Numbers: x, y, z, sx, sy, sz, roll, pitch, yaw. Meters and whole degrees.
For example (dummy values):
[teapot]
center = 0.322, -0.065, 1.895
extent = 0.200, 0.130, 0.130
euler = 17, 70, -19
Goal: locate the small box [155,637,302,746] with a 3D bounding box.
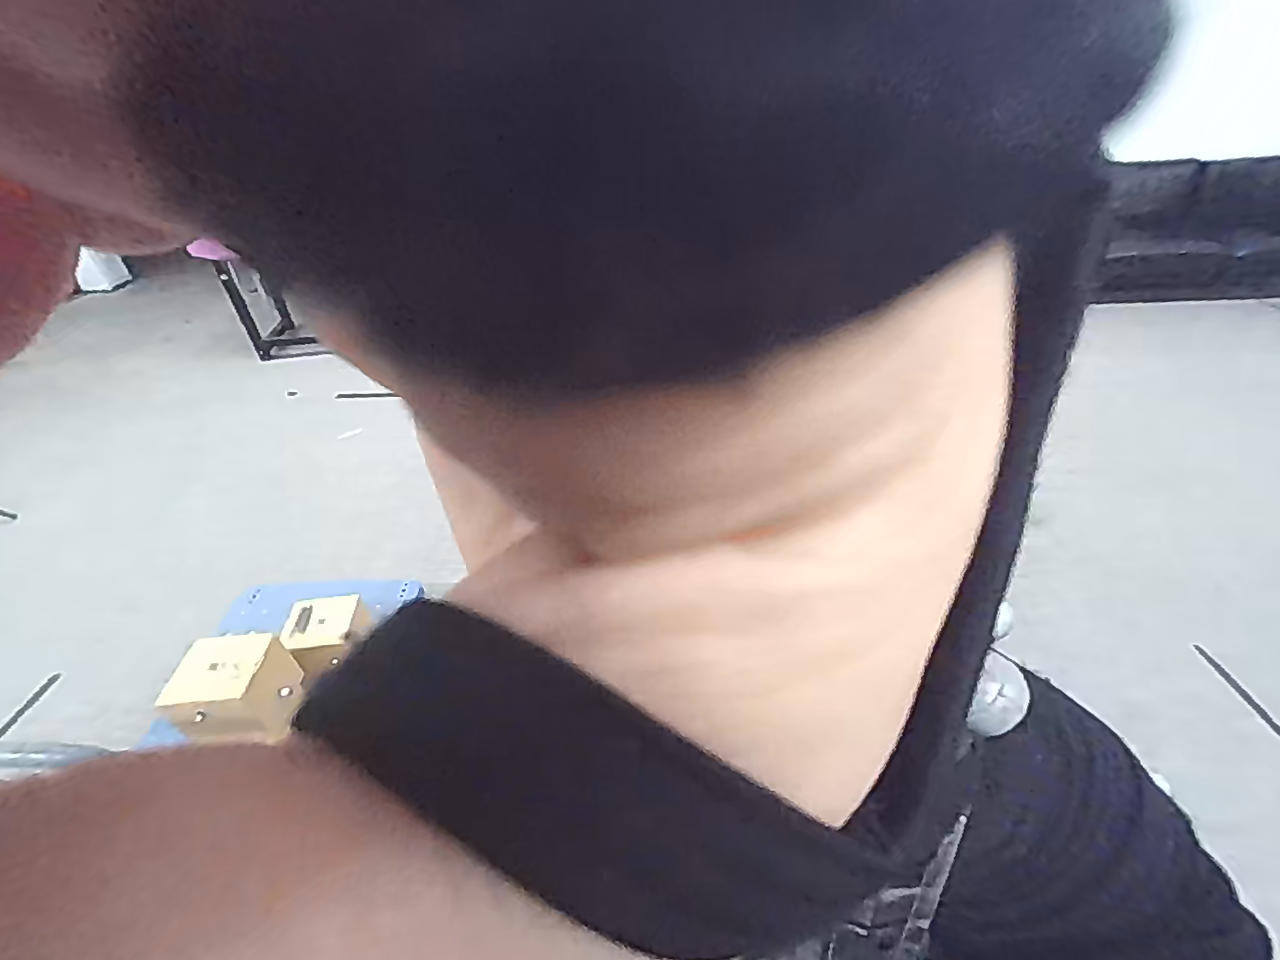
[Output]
[small box]
center = -0.908, 0.477, 1.215
extent = 0.179, 0.176, 0.168
euler = -4, 38, -4
